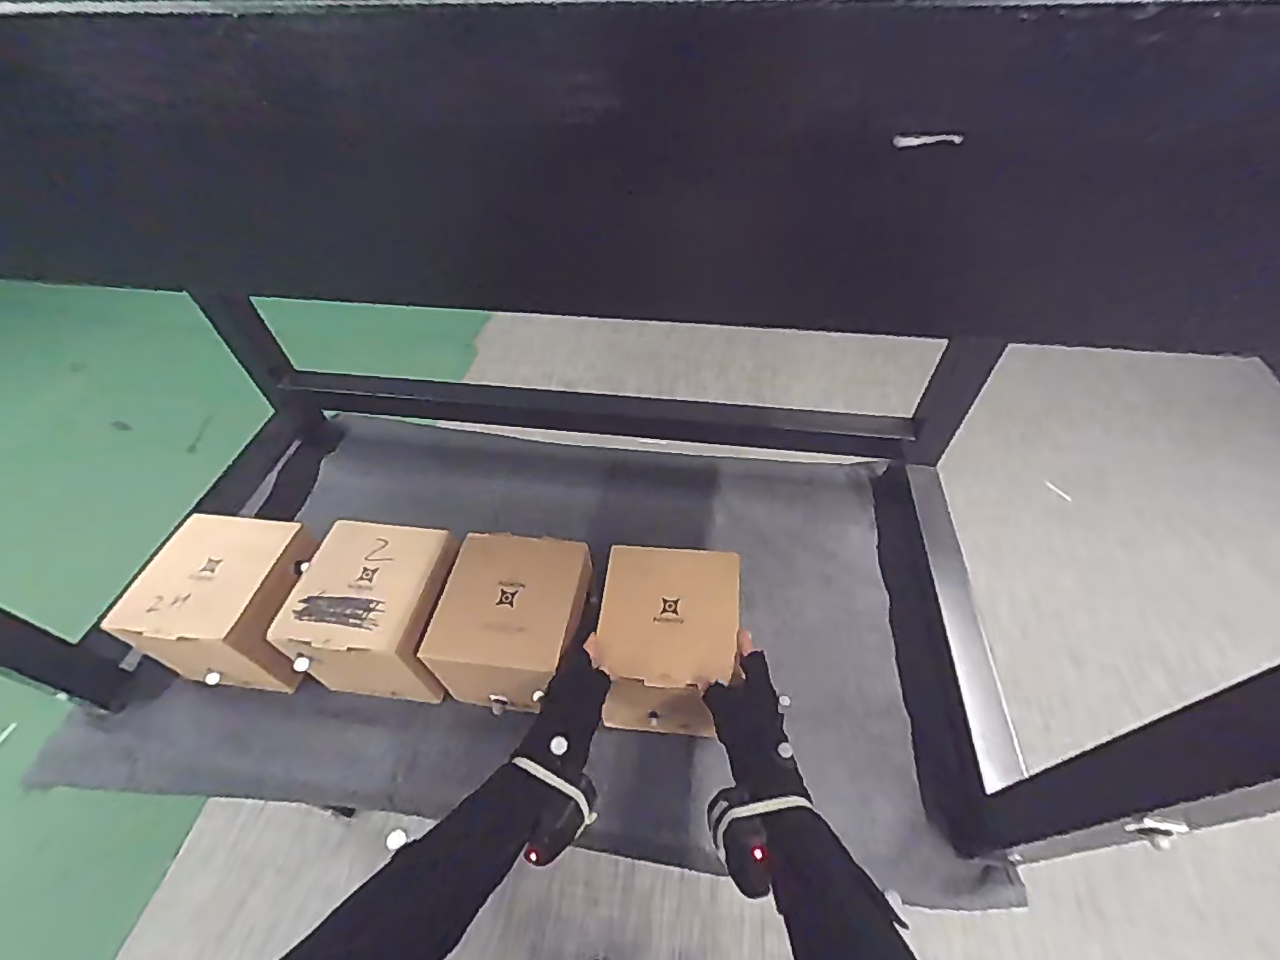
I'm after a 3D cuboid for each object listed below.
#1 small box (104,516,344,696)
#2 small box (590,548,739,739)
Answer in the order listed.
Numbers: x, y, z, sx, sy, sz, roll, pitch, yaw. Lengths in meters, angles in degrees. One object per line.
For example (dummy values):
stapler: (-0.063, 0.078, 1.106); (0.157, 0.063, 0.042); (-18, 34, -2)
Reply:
small box: (-0.547, 0.174, 0.749); (0.168, 0.176, 0.179); (5, 49, 6)
small box: (0.037, 0.211, 0.699); (0.168, 0.176, 0.179); (3, 49, 6)
